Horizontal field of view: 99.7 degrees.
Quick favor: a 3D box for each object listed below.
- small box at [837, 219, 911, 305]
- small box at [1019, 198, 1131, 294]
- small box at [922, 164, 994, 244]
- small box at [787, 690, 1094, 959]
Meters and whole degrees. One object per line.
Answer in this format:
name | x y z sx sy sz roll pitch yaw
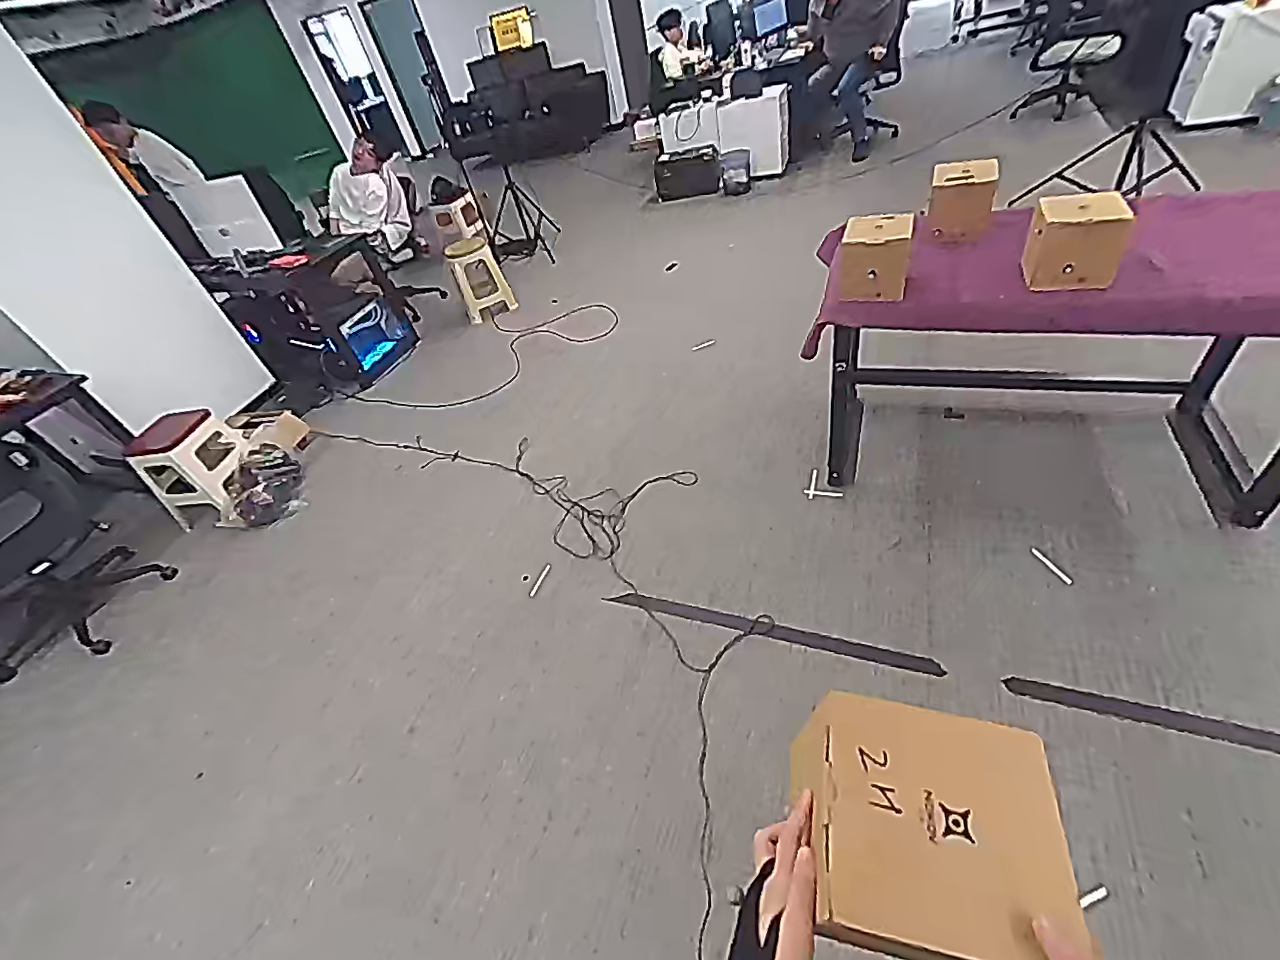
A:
small box | 0.641 -0.596 1.489 0.168 0.176 0.179 8 47 24
small box | 1.065 -0.577 1.342 0.168 0.176 0.179 6 45 22
small box | 0.962 -0.829 1.640 0.168 0.176 0.179 9 48 25
small box | 0.238 0.312 0.478 0.179 0.176 0.168 9 50 10
